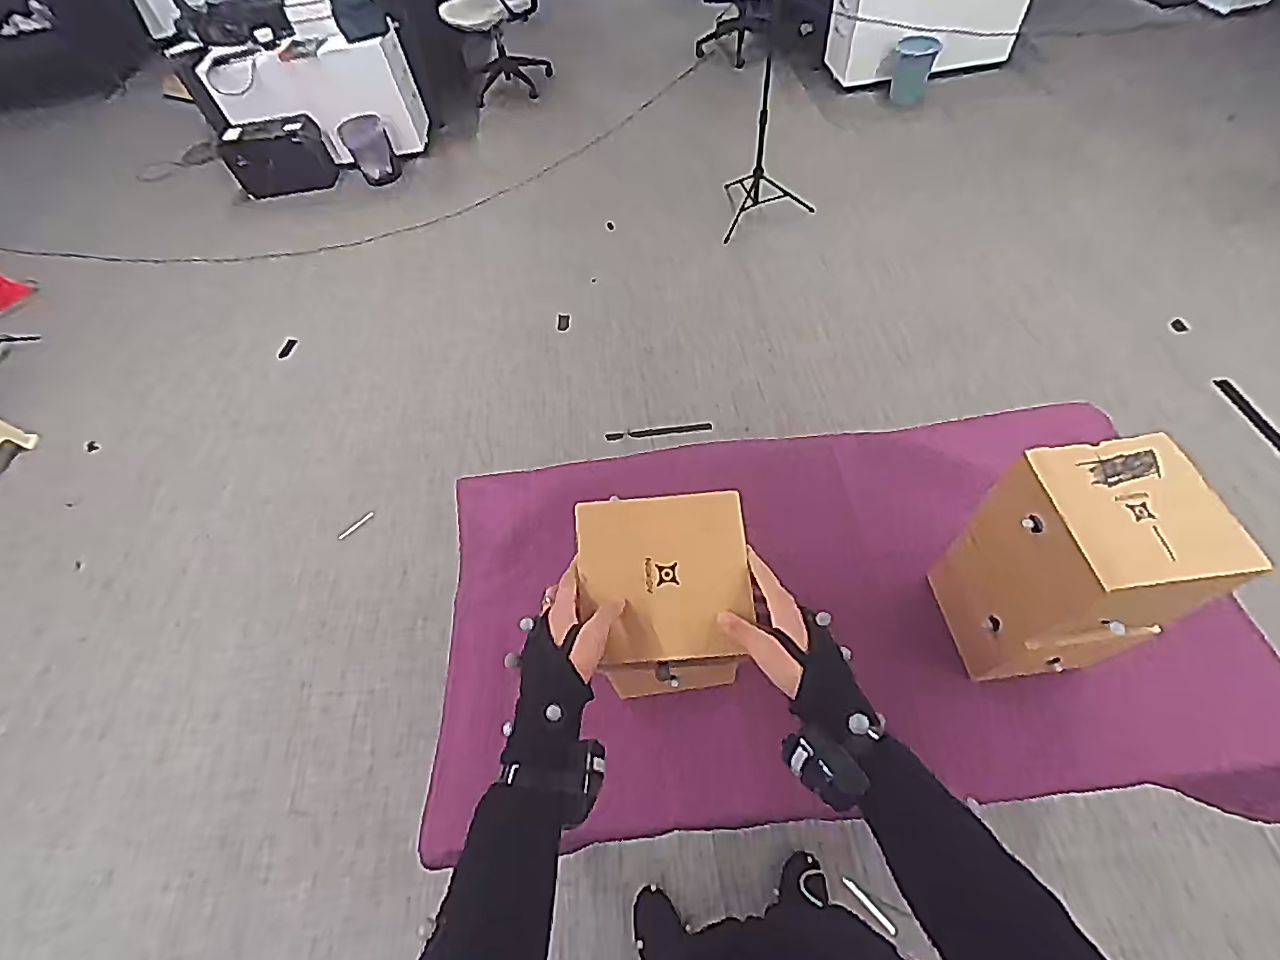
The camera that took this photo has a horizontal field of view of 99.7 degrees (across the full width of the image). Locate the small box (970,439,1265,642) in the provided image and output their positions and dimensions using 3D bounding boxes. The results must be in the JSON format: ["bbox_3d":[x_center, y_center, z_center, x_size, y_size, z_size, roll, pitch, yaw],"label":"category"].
[{"bbox_3d":[0.536,0.076,0.647,0.168,0.176,0.179,-7,57,2],"label":"small box"}]

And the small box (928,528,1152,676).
[{"bbox_3d":[0.552,0.174,0.778,0.168,0.176,0.179,-7,56,1],"label":"small box"}]

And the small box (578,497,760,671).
[{"bbox_3d":[0.029,0.127,0.621,0.179,0.176,0.168,-5,69,3],"label":"small box"}]
